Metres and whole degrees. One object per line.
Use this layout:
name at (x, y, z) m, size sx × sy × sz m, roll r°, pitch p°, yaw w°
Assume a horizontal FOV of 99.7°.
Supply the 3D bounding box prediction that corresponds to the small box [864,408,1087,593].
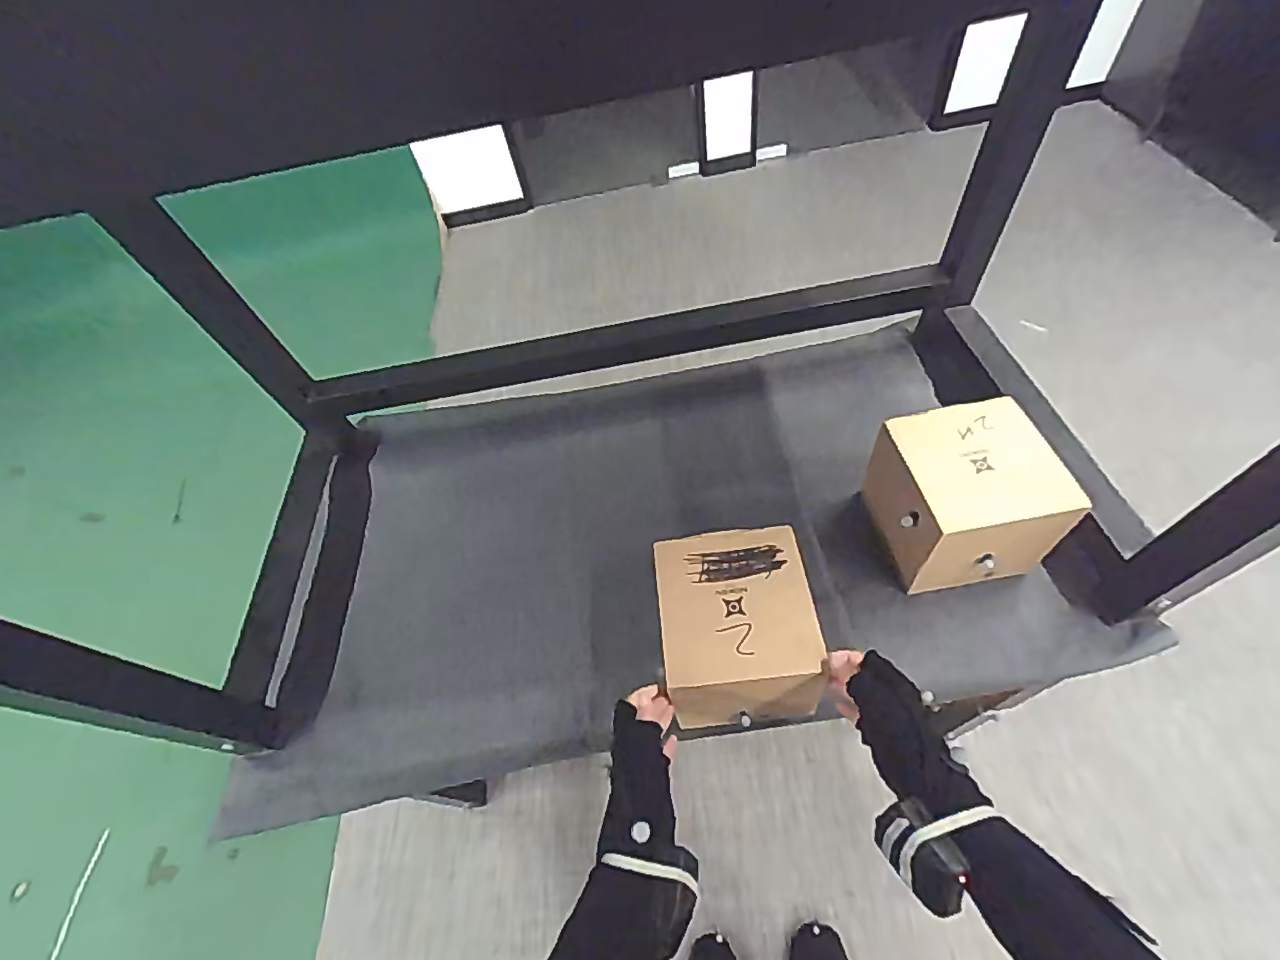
small box at (0.418, 0.036, 0.712) m, size 0.168 × 0.176 × 0.179 m, roll -10°, pitch 53°, yaw 2°
